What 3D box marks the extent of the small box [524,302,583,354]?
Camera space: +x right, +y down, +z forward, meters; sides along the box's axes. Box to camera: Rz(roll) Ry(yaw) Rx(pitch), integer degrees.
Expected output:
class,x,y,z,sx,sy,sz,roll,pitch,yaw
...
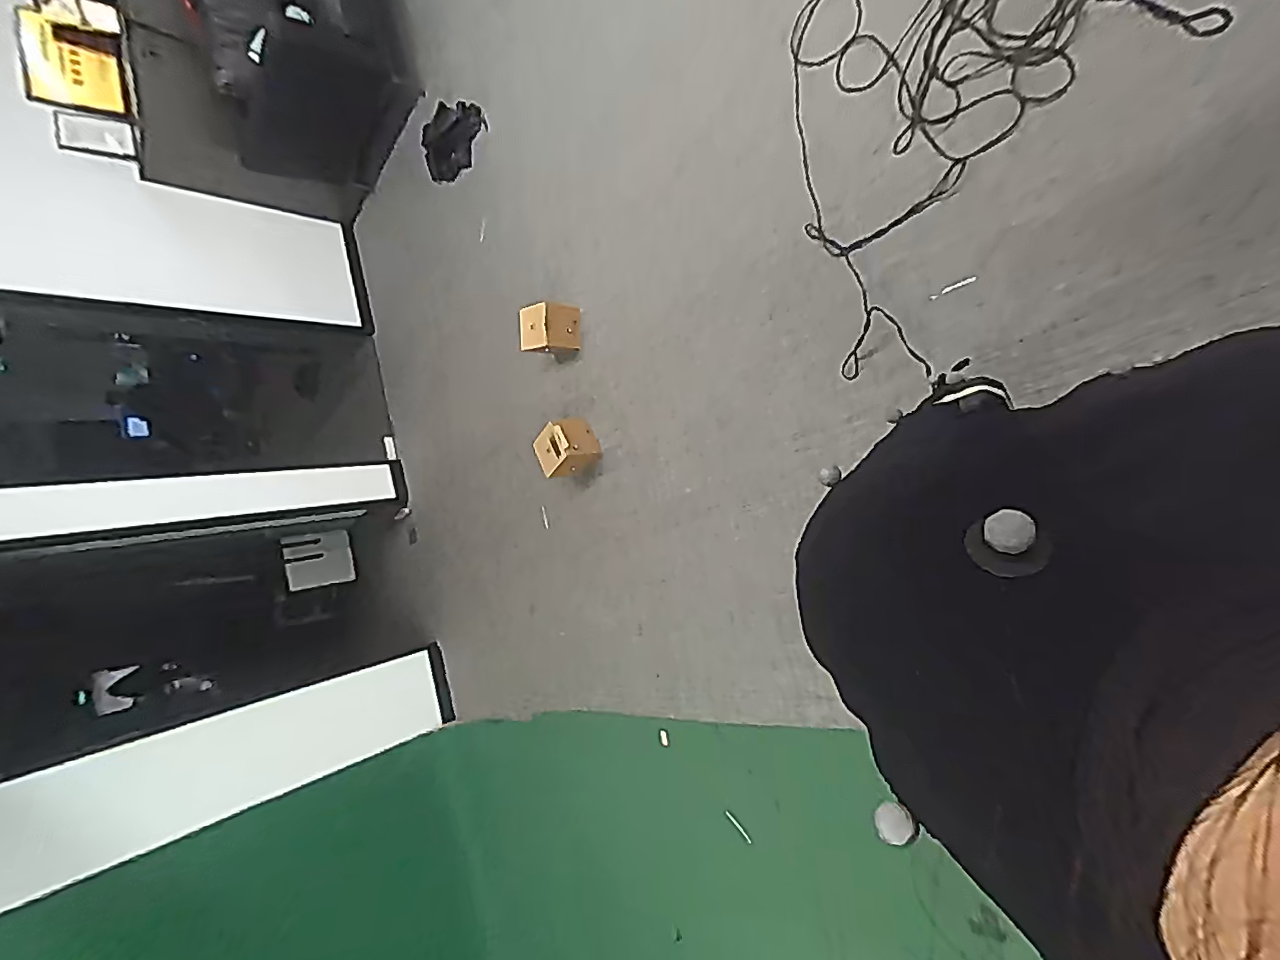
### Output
class,x,y,z,sx,sy,sz,roll,pitch,yaw
small box,-0.346,-0.603,2.160,0.179,0.176,0.168,4,97,45
